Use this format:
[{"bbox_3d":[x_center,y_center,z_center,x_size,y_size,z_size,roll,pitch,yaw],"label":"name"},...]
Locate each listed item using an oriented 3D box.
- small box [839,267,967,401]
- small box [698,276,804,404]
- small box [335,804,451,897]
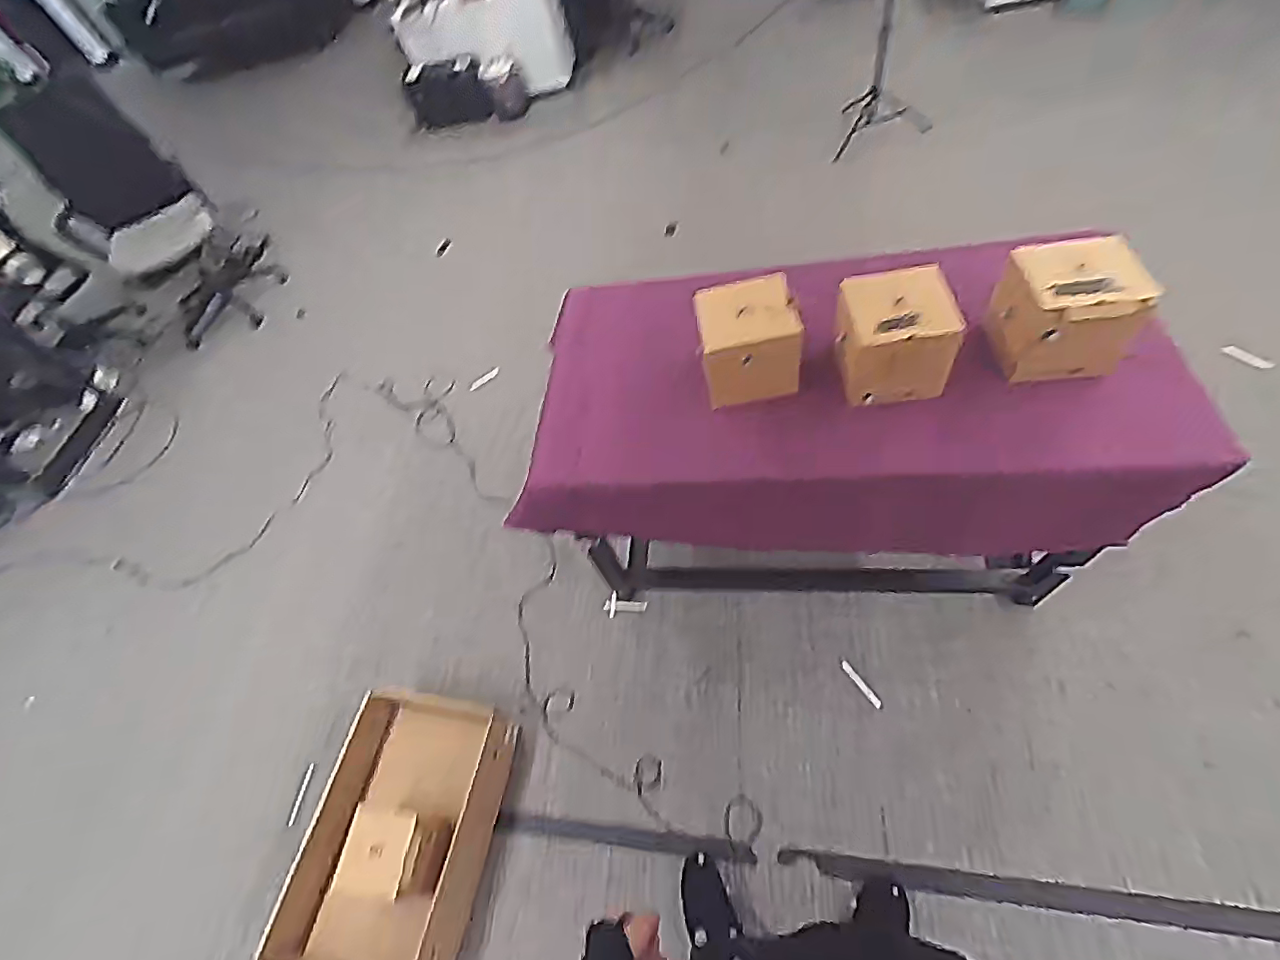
[{"bbox_3d":[0.477,-0.263,1.011,0.168,0.176,0.179,-6,56,10],"label":"small box"},{"bbox_3d":[0.220,-0.271,1.077,0.179,0.176,0.168,-9,57,7],"label":"small box"},{"bbox_3d":[-0.599,0.911,1.338,0.179,0.176,0.168,-1,56,13],"label":"small box"}]
